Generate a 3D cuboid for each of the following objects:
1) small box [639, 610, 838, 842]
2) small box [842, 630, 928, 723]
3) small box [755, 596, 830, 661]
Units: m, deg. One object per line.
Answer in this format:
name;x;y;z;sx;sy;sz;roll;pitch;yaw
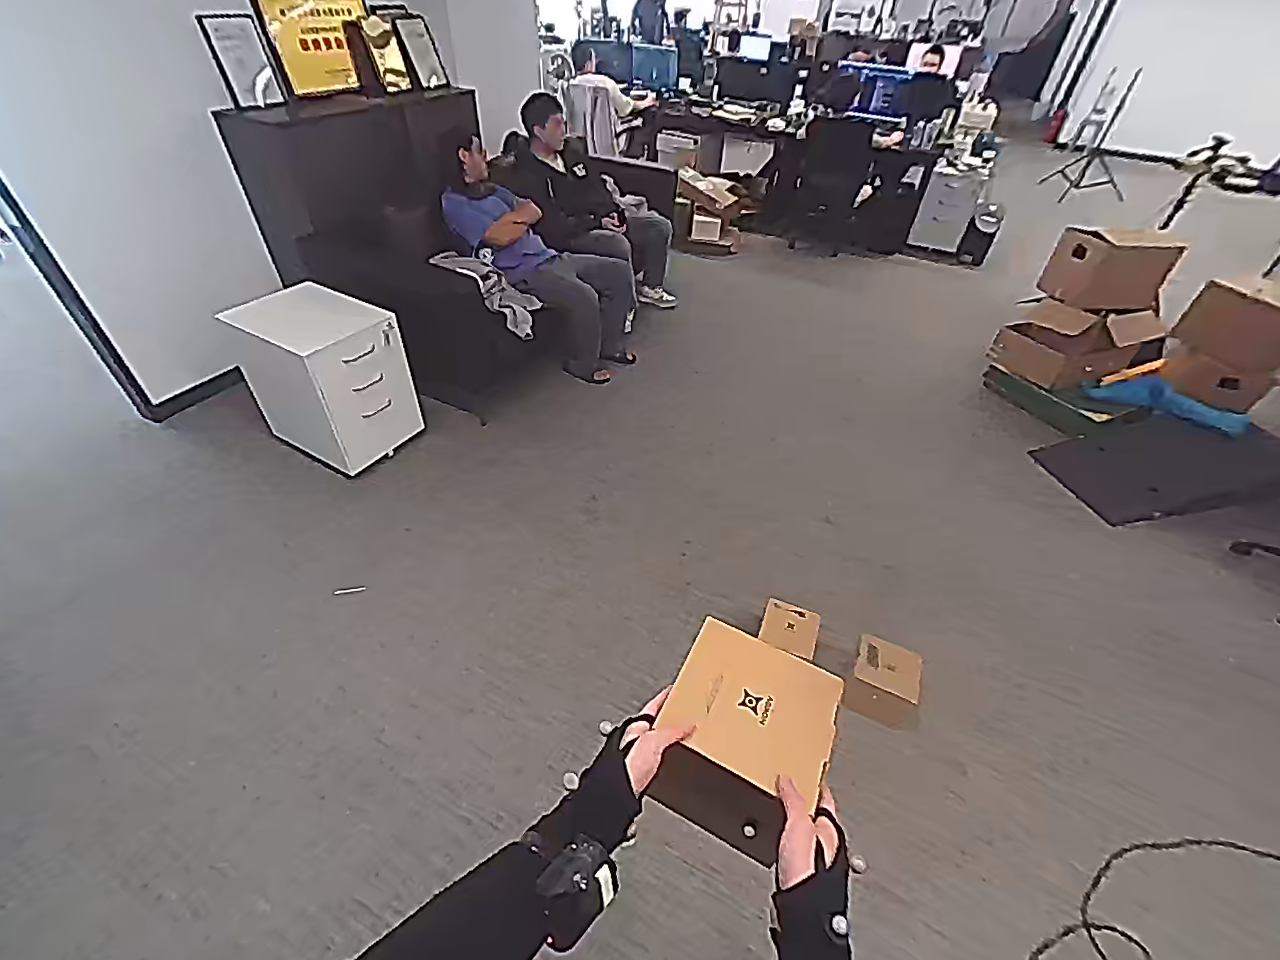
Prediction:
small box;0.114;0.299;0.655;0.179;0.176;0.168;21;41;18
small box;0.724;0.589;1.613;0.179;0.176;0.168;23;48;22
small box;0.470;0.489;1.704;0.179;0.176;0.168;-4;41;-5
